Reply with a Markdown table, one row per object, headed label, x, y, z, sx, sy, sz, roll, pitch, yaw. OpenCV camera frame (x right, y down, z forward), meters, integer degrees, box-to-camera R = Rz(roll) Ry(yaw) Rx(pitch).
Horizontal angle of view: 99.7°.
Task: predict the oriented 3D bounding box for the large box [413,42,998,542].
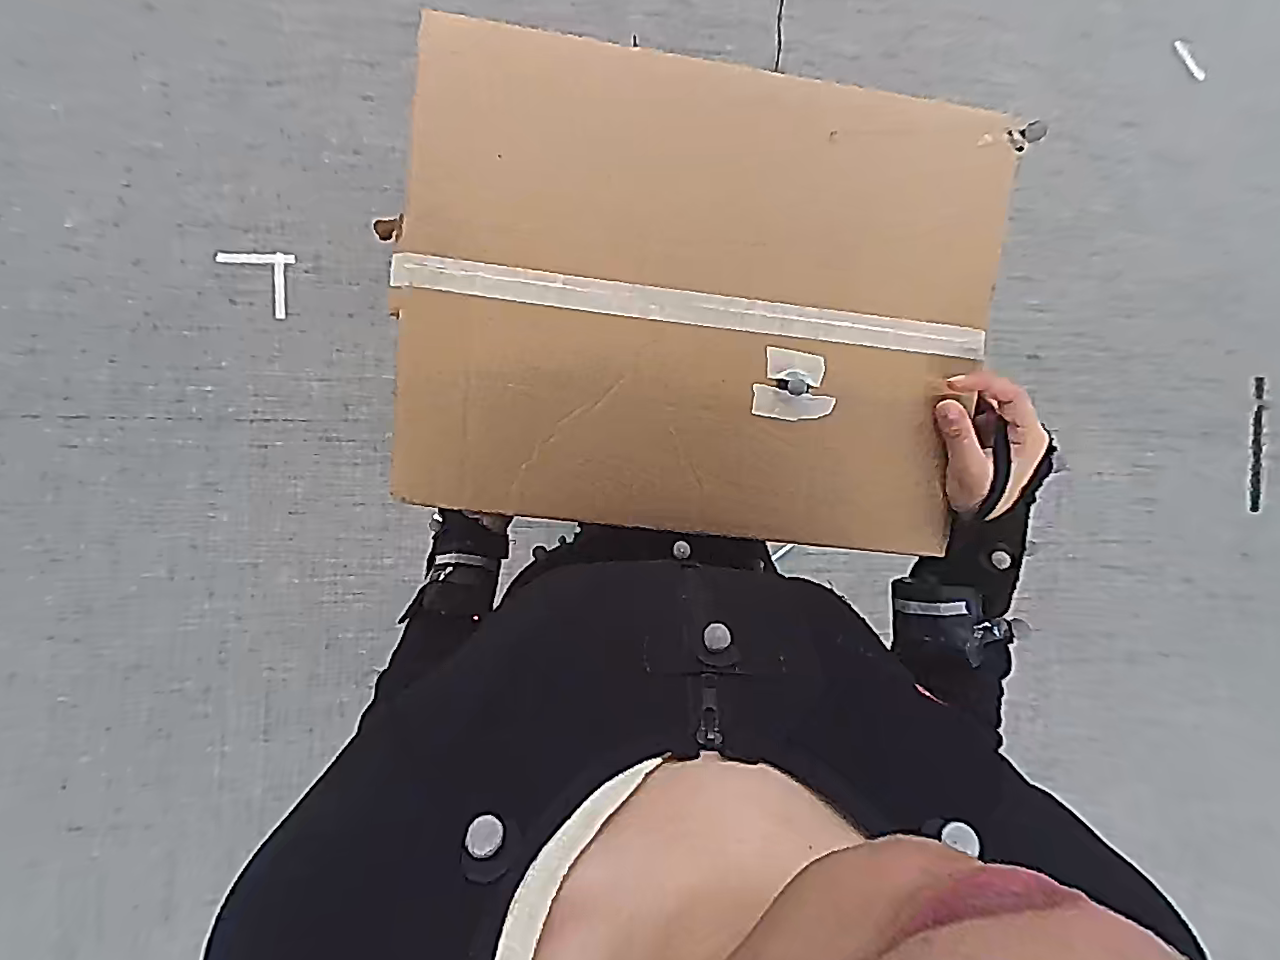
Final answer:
| label | x | y | z | sx | sy | sz | roll | pitch | yaw |
| --- | --- | --- | --- | --- | --- | --- | --- | --- | --- |
| large box | 0.033 | -0.134 | 0.530 | 0.408 | 0.320 | 0.320 | 5 | 97 | -6 |
